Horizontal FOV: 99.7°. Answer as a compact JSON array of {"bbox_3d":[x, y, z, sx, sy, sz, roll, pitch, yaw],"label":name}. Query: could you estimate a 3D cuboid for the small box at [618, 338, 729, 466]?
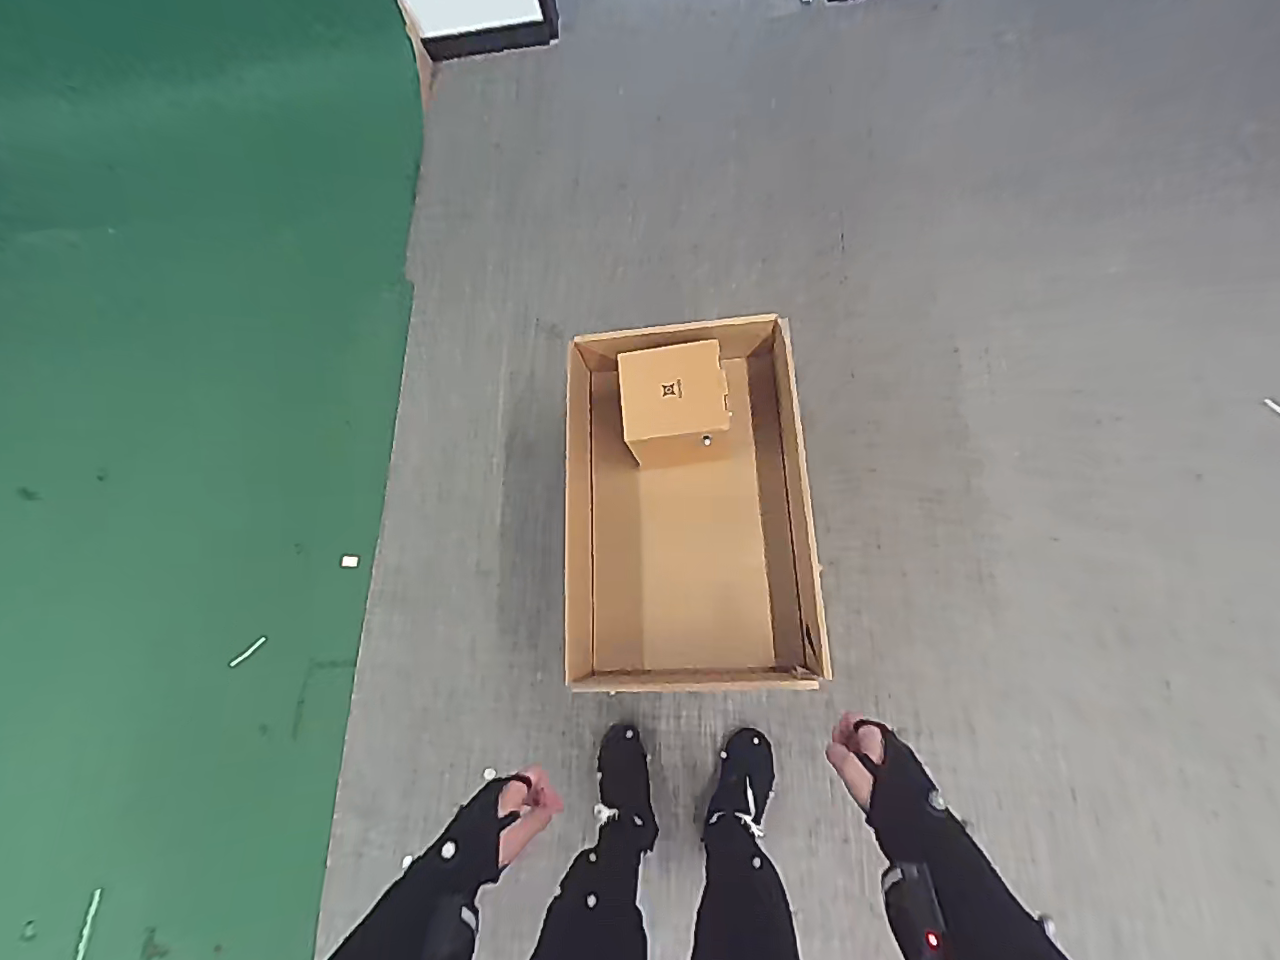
[{"bbox_3d":[0.064,-0.131,0.975,0.179,0.176,0.168,-7,73,6],"label":"small box"}]
